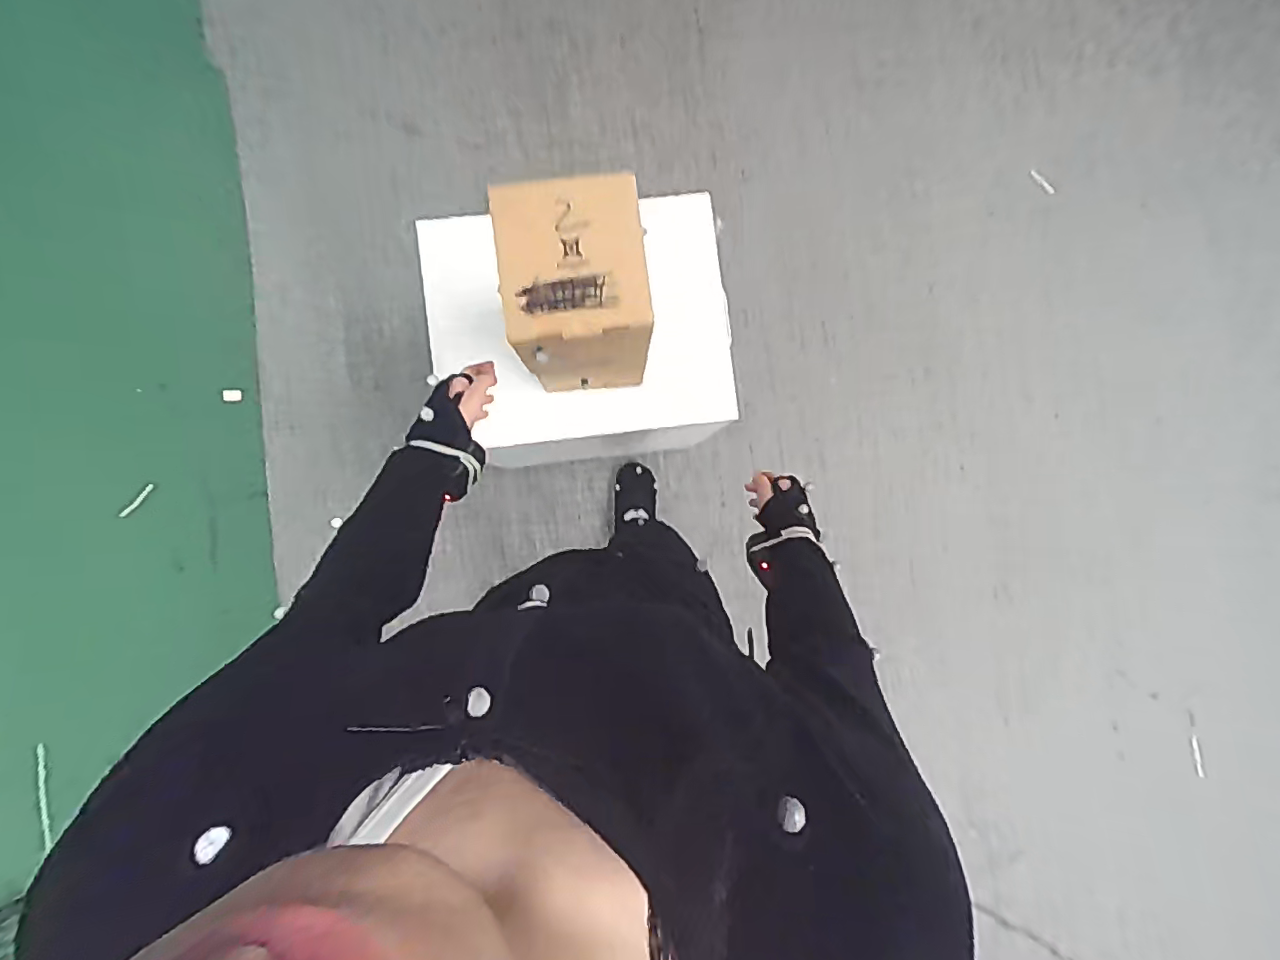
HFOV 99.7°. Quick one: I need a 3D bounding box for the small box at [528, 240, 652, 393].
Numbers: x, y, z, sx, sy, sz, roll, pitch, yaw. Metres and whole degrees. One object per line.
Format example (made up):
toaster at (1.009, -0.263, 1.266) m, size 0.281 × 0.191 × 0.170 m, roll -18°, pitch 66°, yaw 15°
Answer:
small box at (-0.075, -0.243, 0.836) m, size 0.168 × 0.176 × 0.179 m, roll -5°, pitch 88°, yaw -2°
